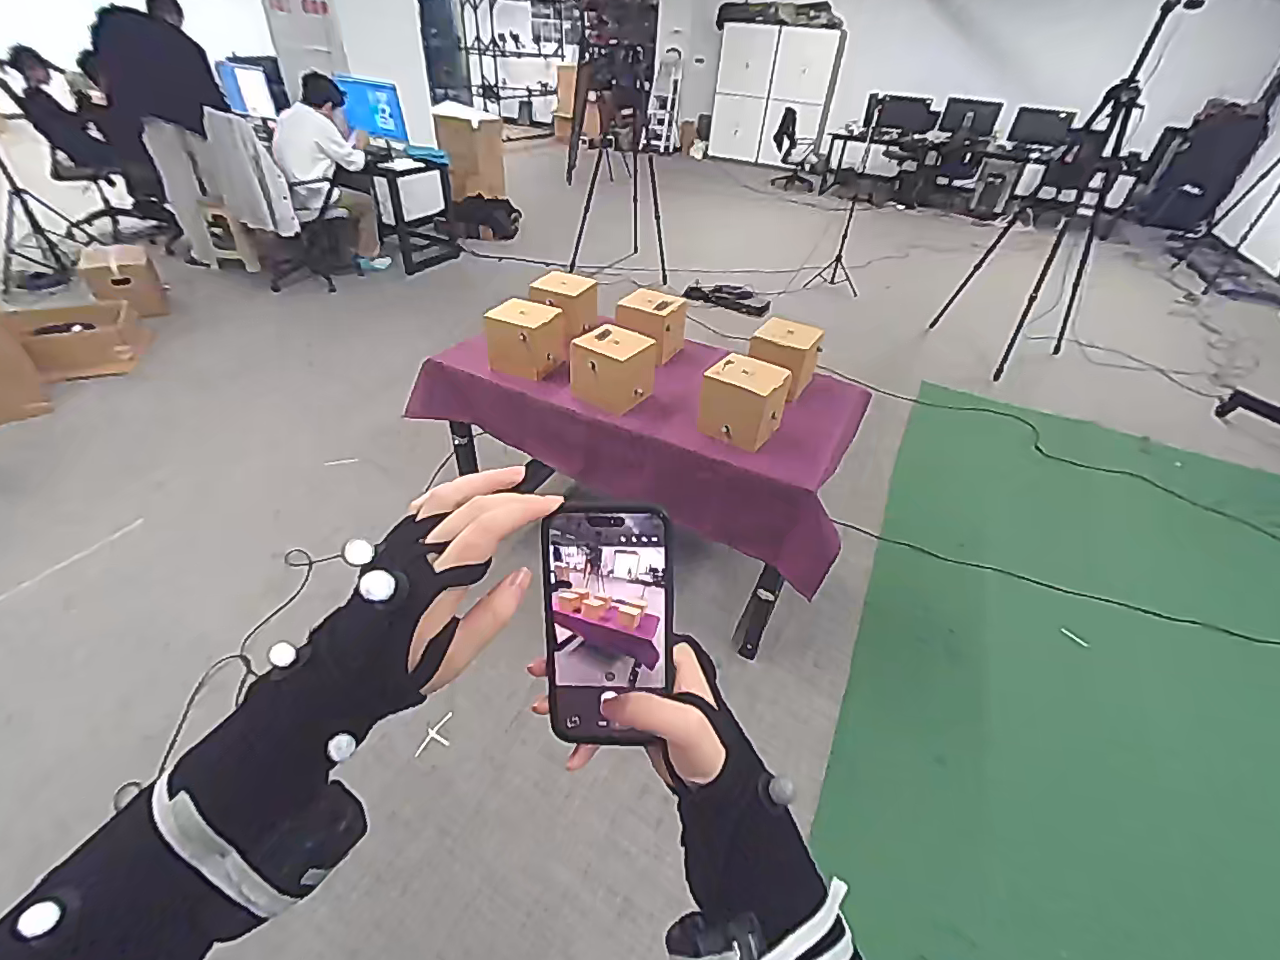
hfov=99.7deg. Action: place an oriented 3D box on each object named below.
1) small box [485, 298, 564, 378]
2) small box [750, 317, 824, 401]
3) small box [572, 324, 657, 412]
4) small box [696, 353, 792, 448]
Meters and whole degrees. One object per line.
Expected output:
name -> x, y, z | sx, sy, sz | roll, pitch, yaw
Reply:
small box -> -0.342, -0.425, 1.626 | 0.179, 0.176, 0.168 | 18, 40, 14
small box -> 0.430, -0.365, 1.629 | 0.168, 0.176, 0.179 | 23, 43, 22
small box -> -0.073, -0.312, 1.512 | 0.179, 0.176, 0.168 | 26, 43, 23
small box -> 0.268, -0.204, 1.414 | 0.179, 0.176, 0.168 | 27, 43, 24
